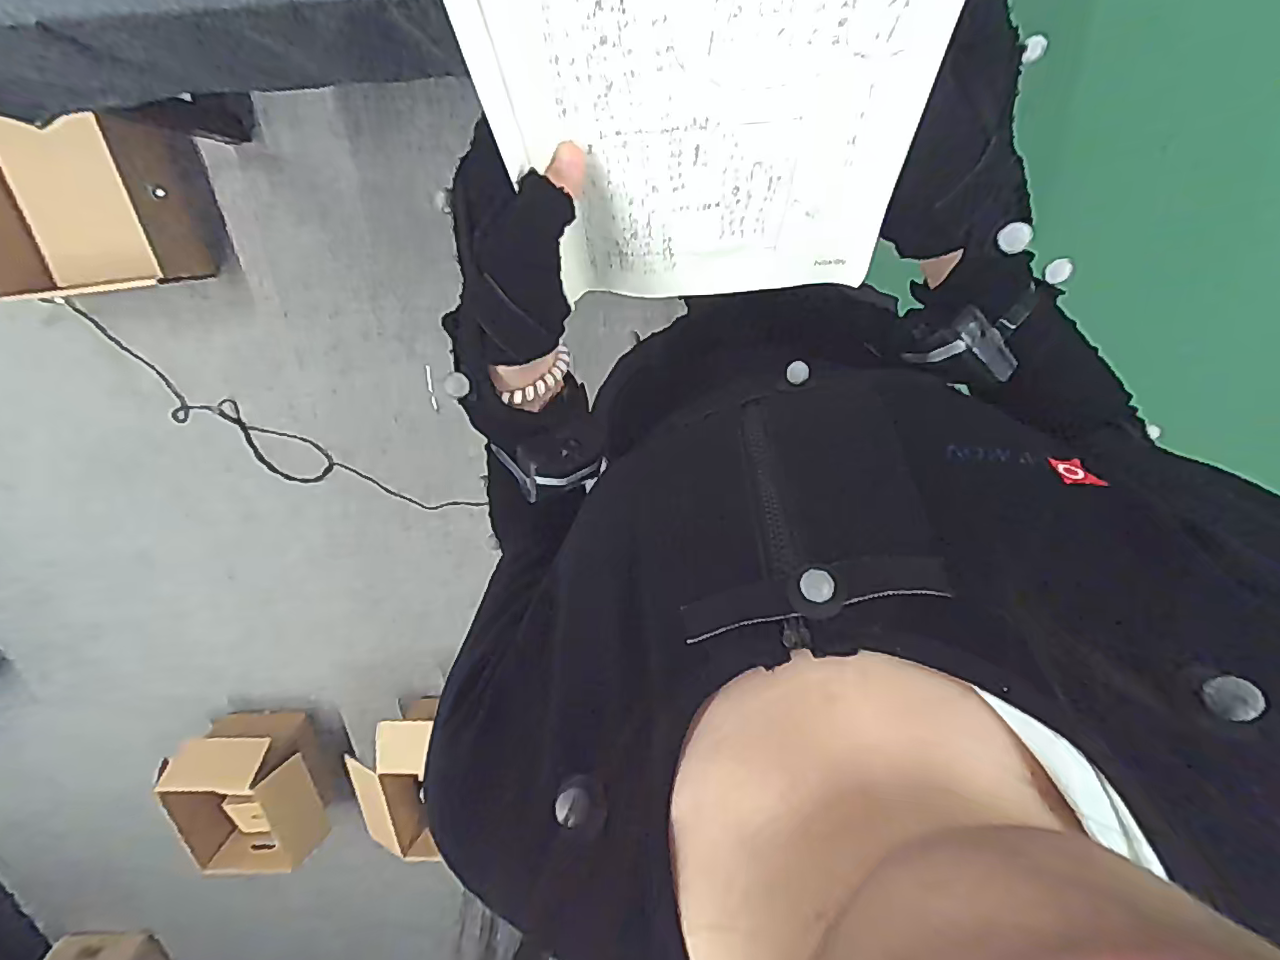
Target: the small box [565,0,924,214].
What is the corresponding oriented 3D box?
[{"bbox_3d":[0.046,-0.281,0.306,0.168,0.176,0.179,-10,130,10],"label":"small box"}]
